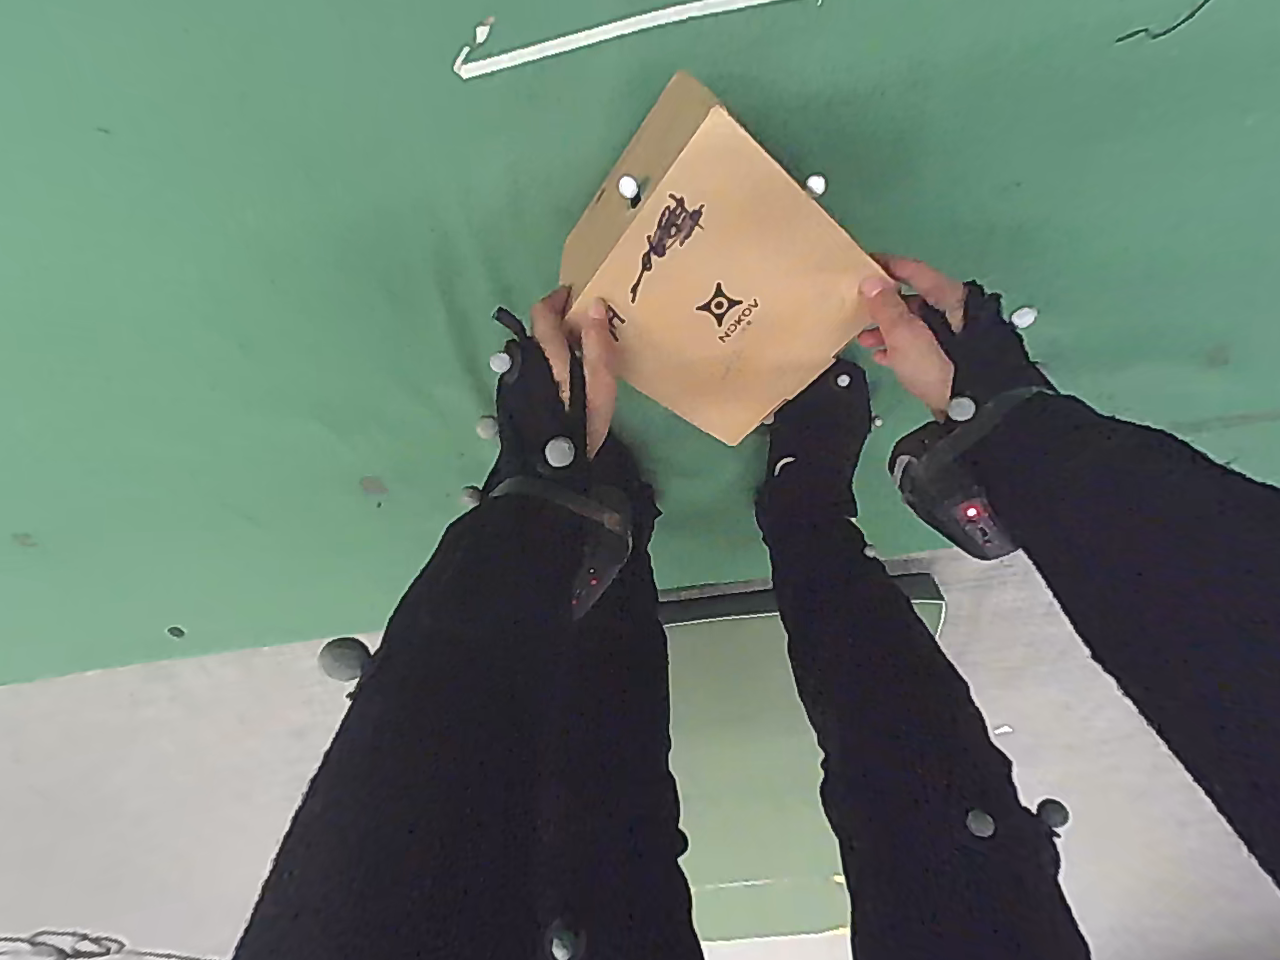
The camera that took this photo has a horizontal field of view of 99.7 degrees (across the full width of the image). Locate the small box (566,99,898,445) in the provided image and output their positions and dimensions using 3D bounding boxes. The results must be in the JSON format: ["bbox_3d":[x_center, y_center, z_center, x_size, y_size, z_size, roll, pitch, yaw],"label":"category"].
[{"bbox_3d":[0.060,-0.167,0.434,0.179,0.176,0.168,28,123,-26],"label":"small box"}]
